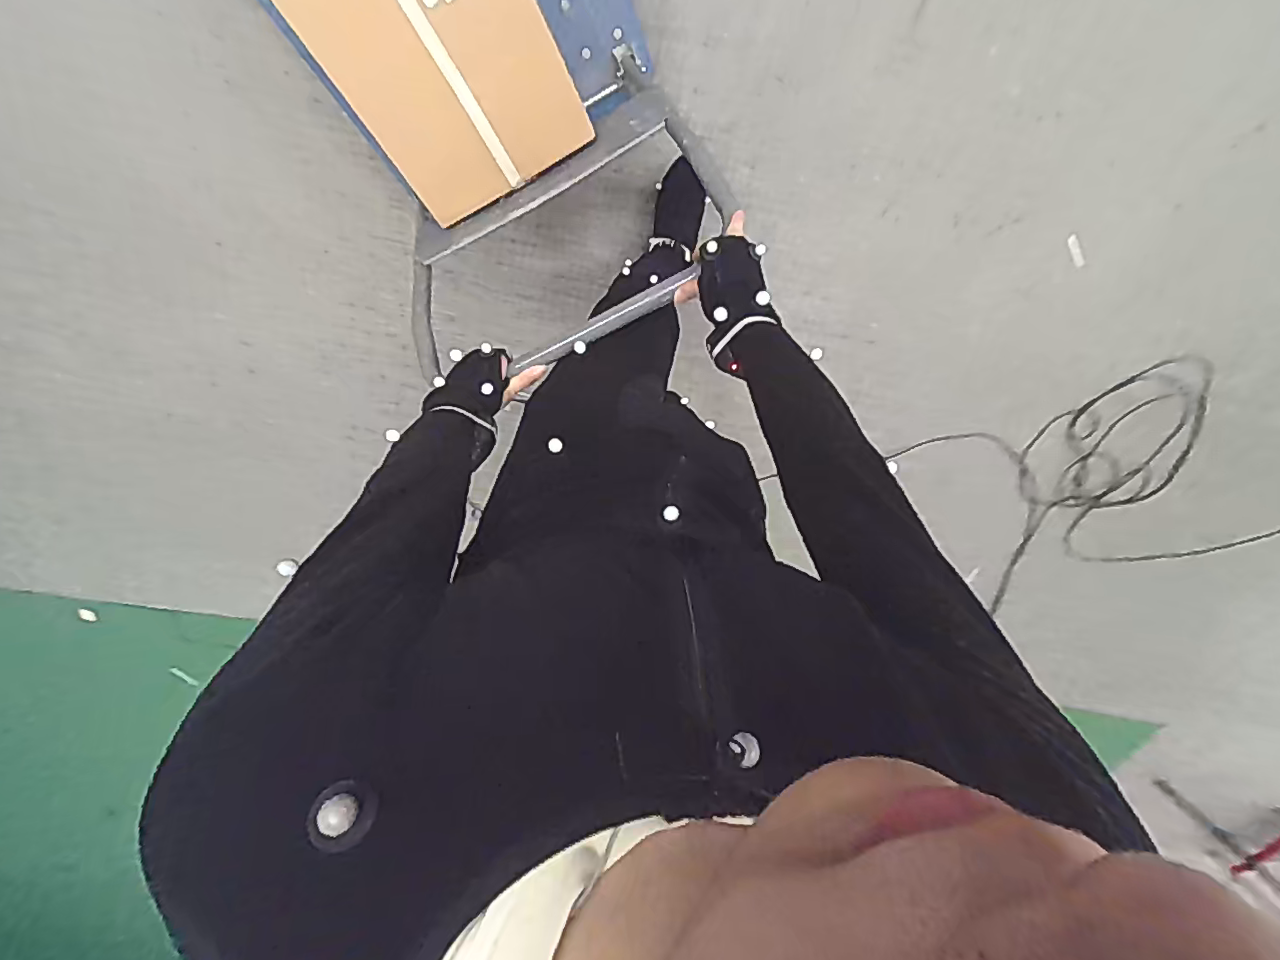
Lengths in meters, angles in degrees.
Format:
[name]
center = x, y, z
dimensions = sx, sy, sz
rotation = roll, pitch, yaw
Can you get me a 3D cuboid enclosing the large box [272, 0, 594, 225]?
[large box]
center = -0.317, -0.726, 0.885
dimensions = 0.320, 0.320, 0.408
rotation = -25, 137, 10
